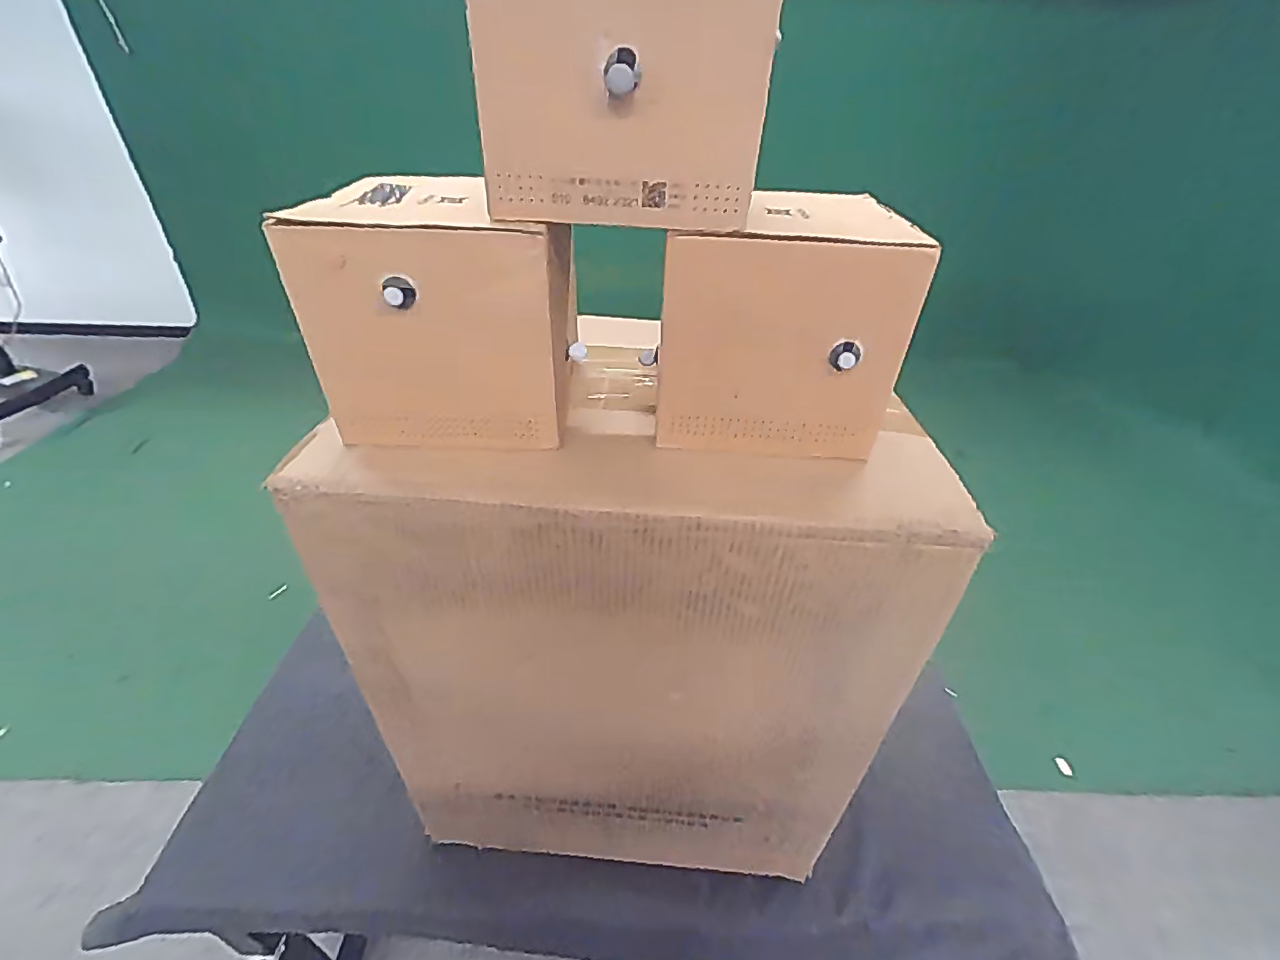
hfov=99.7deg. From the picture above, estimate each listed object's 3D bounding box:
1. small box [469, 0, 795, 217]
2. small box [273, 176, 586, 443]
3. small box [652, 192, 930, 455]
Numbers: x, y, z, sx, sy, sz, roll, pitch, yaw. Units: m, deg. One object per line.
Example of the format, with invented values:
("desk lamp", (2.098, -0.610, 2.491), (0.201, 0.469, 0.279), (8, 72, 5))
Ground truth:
("small box", (-0.008, -0.289, 0.372), (0.179, 0.176, 0.168), (-18, 41, -23))
("small box", (-0.147, -0.145, 0.456), (0.179, 0.176, 0.168), (4, 40, 3))
("small box", (0.104, -0.134, 0.458), (0.179, 0.176, 0.168), (3, 37, 2))
